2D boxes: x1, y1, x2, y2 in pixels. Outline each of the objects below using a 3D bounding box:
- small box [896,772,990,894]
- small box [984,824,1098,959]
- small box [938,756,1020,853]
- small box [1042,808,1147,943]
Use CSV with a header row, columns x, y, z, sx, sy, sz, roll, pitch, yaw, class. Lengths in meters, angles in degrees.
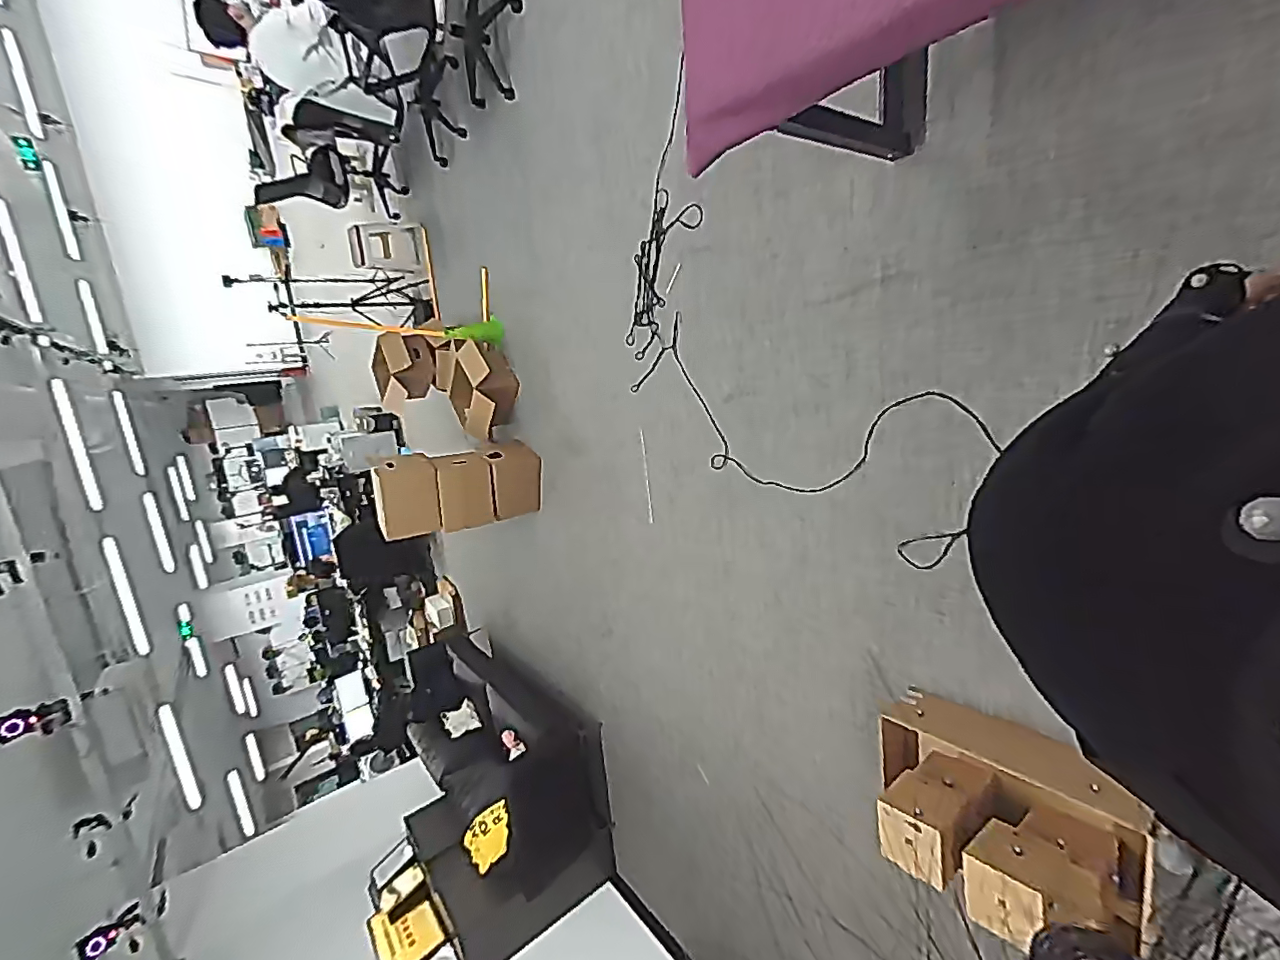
x,y,z,sx,sy,sz,roll,pitch,yaw,class
0.809,0.928,1.441,0.168,0.176,0.179,3,104,53,small box
0.939,0.958,1.267,0.168,0.176,0.179,0,100,57,small box
0.948,0.918,1.531,0.179,0.176,0.168,-3,98,55,small box
1.102,0.948,1.319,0.179,0.176,0.168,3,103,57,small box
